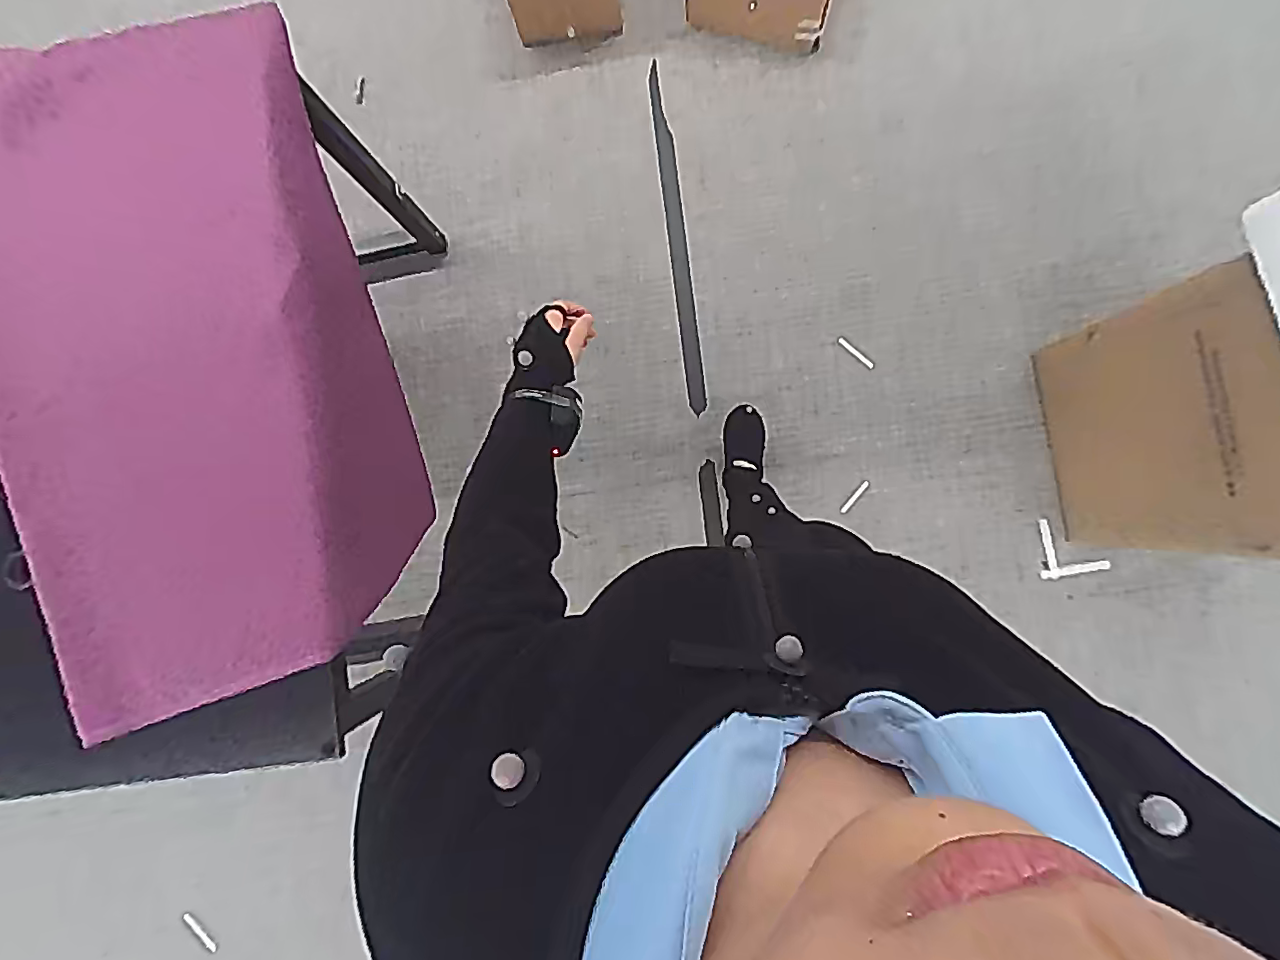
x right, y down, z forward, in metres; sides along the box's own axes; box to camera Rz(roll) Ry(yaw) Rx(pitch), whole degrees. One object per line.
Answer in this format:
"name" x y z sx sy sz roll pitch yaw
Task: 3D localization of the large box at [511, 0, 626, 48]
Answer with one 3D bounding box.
"large box" -0.221 -1.511 1.470 0.320 0.320 0.408 -6 87 5
